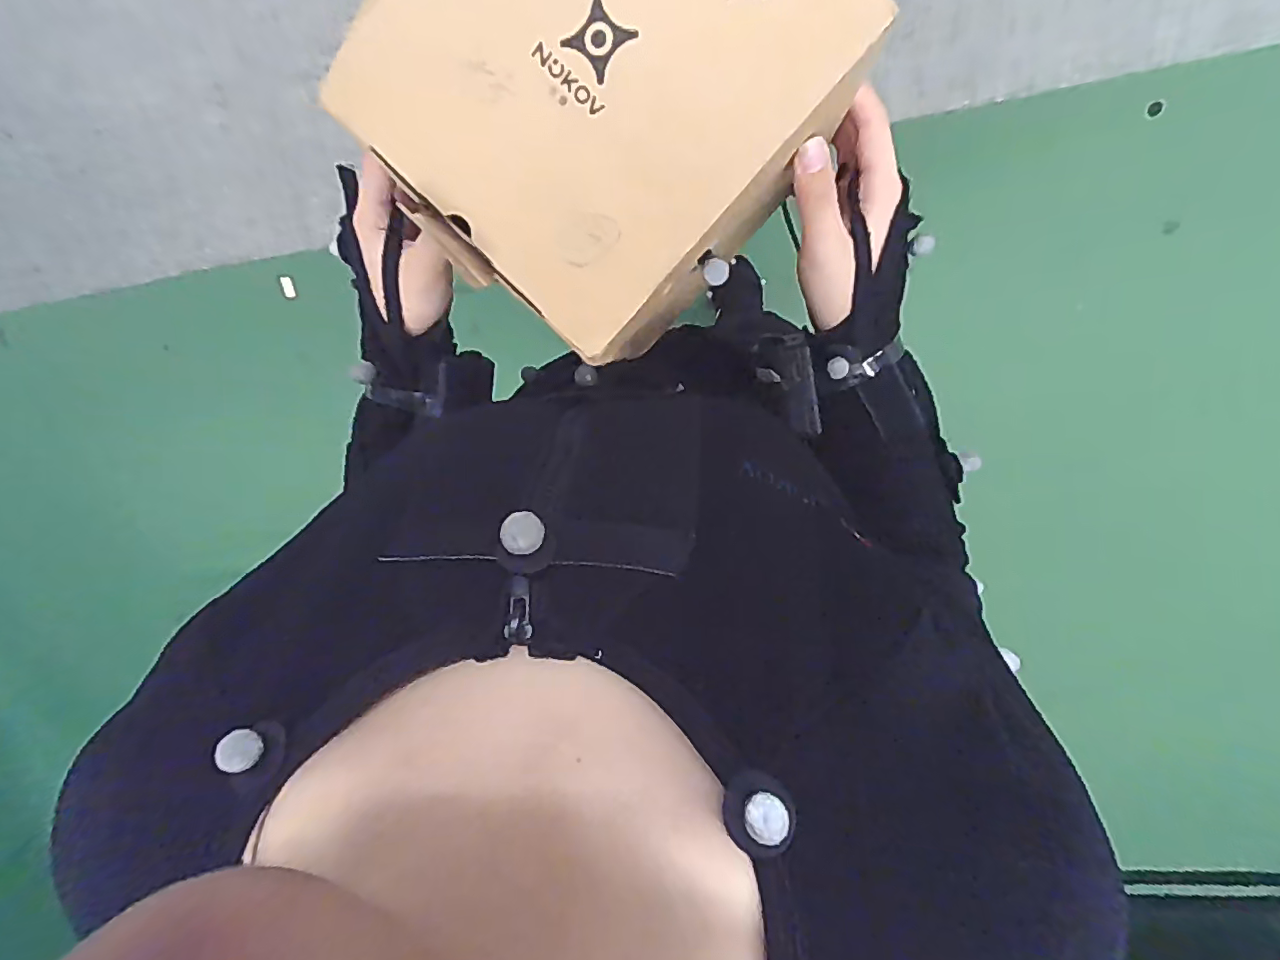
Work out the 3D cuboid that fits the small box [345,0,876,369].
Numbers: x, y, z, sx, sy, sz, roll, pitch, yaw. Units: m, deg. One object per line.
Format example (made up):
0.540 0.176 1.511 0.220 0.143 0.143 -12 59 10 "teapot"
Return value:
-0.008 -0.183 0.304 0.168 0.176 0.179 43 106 -4 "small box"
